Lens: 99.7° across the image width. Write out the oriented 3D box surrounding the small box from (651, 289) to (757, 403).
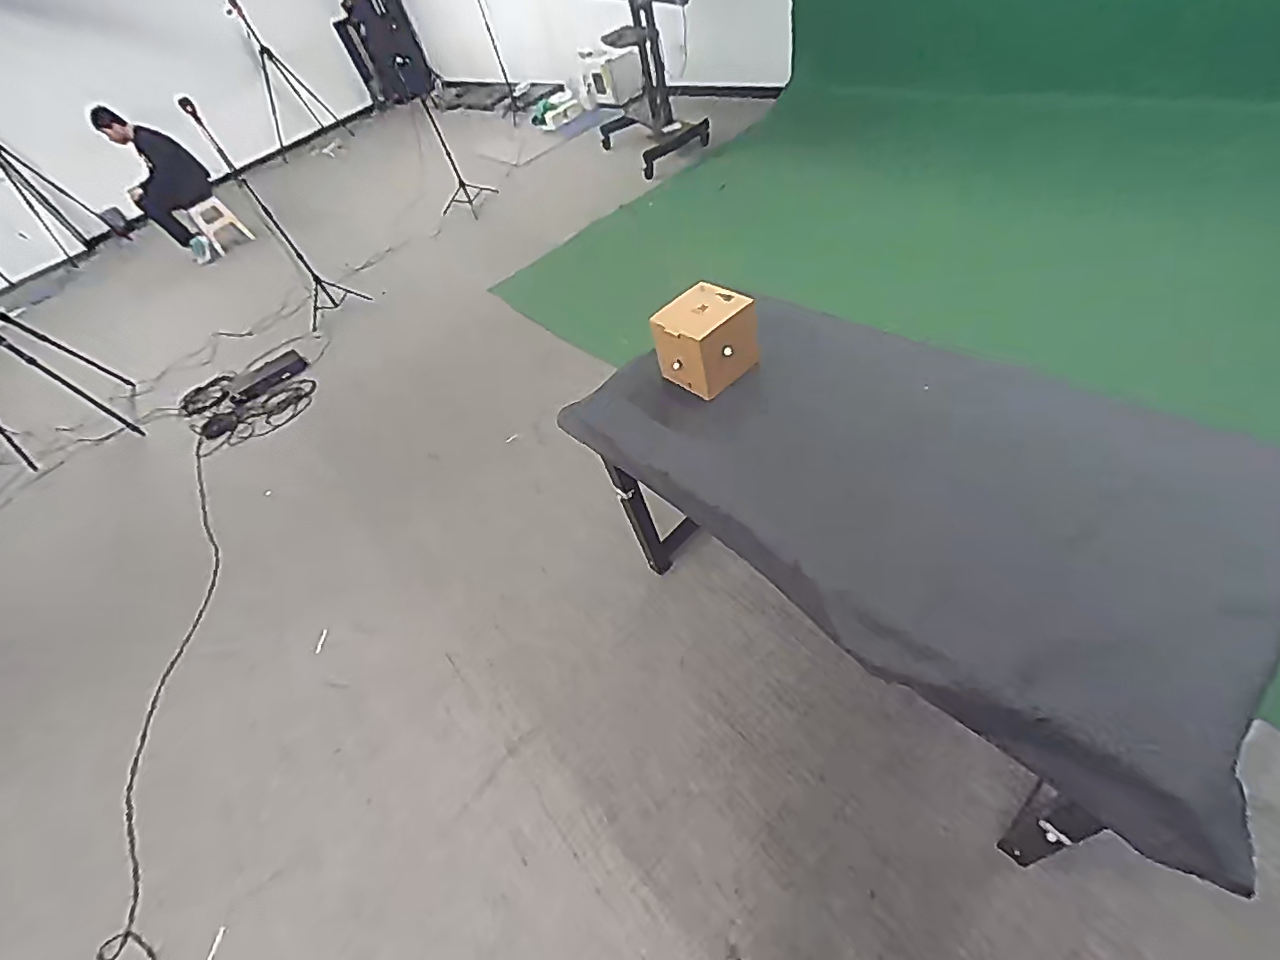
[{"bbox_3d":[0.156,-0.310,1.259,0.179,0.176,0.168,-40,50,-17],"label":"small box"}]
